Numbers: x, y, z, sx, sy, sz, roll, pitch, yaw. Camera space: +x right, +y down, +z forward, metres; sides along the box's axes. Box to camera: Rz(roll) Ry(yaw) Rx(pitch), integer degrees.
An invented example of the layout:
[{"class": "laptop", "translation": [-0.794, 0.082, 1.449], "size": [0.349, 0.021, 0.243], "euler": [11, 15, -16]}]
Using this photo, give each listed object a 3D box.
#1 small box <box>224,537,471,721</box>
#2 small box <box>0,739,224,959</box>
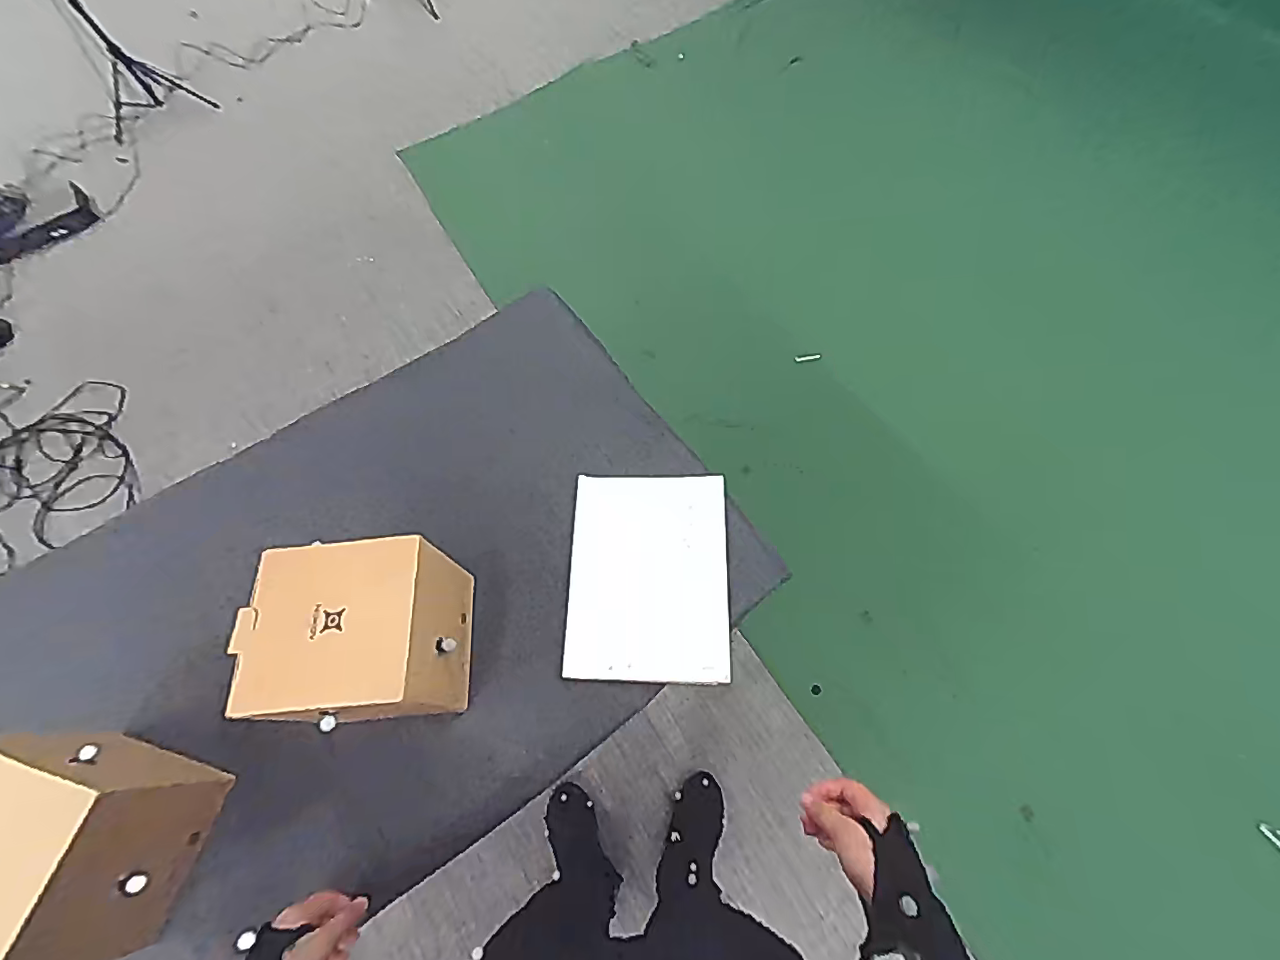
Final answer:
[{"class": "small box", "translation": [-0.302, 0.173, 0.605], "size": [0.179, 0.176, 0.168], "euler": [-6, 65, 3]}, {"class": "small box", "translation": [-0.579, 0.366, 0.537], "size": [0.179, 0.176, 0.168], "euler": [12, 67, 10]}]
